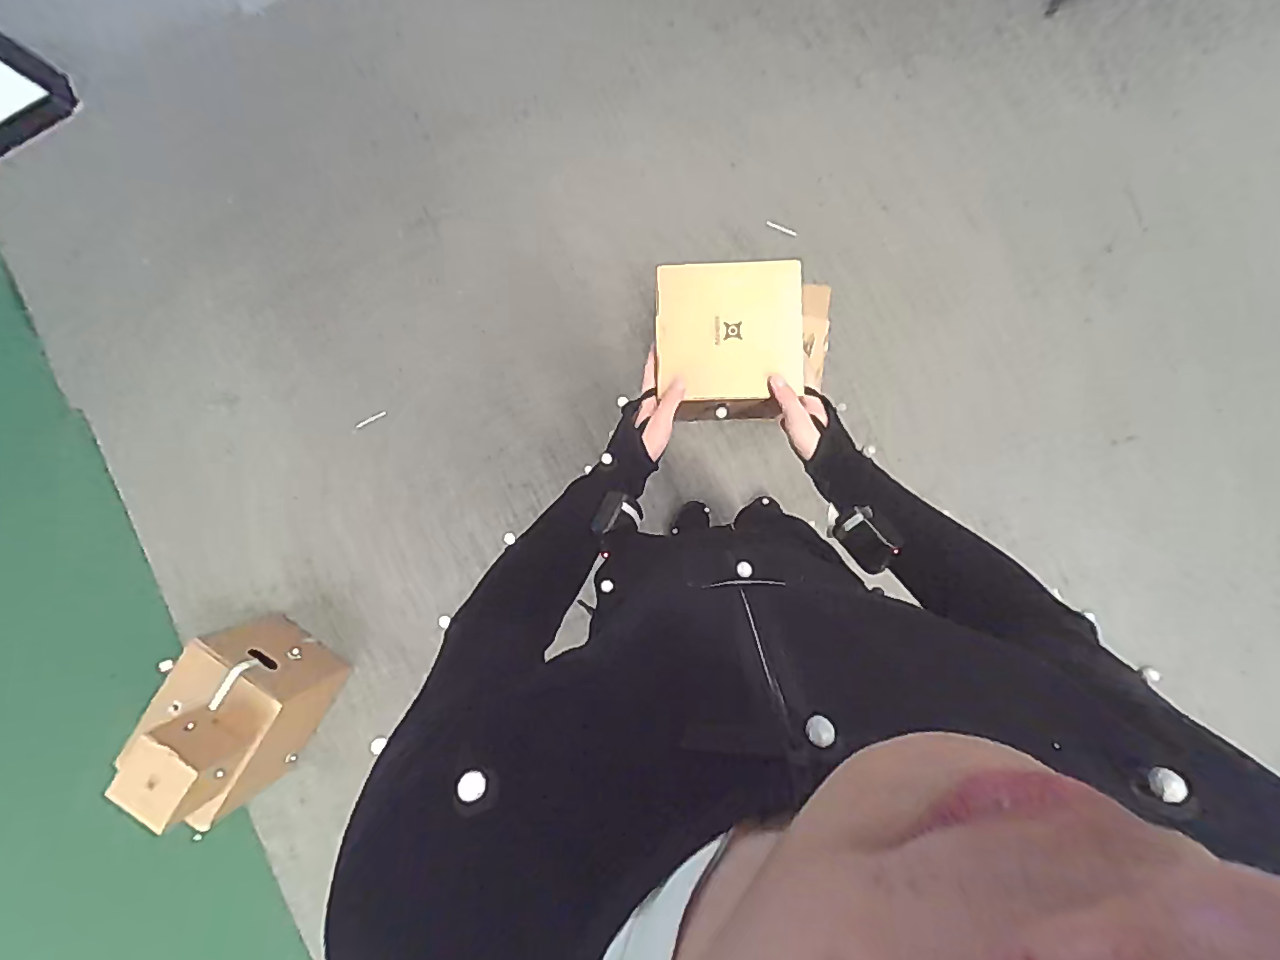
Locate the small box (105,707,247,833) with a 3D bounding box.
[{"bbox_3d":[-1.109,0.691,1.312,0.168,0.176,0.179,33,92,4],"label":"small box"}]

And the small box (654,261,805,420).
[{"bbox_3d":[0.109,-0.173,0.719,0.179,0.176,0.168,-2,88,4],"label":"small box"}]

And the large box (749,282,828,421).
[{"bbox_3d":[0.268,-0.343,1.485,0.408,0.320,0.320,6,88,5],"label":"large box"}]
